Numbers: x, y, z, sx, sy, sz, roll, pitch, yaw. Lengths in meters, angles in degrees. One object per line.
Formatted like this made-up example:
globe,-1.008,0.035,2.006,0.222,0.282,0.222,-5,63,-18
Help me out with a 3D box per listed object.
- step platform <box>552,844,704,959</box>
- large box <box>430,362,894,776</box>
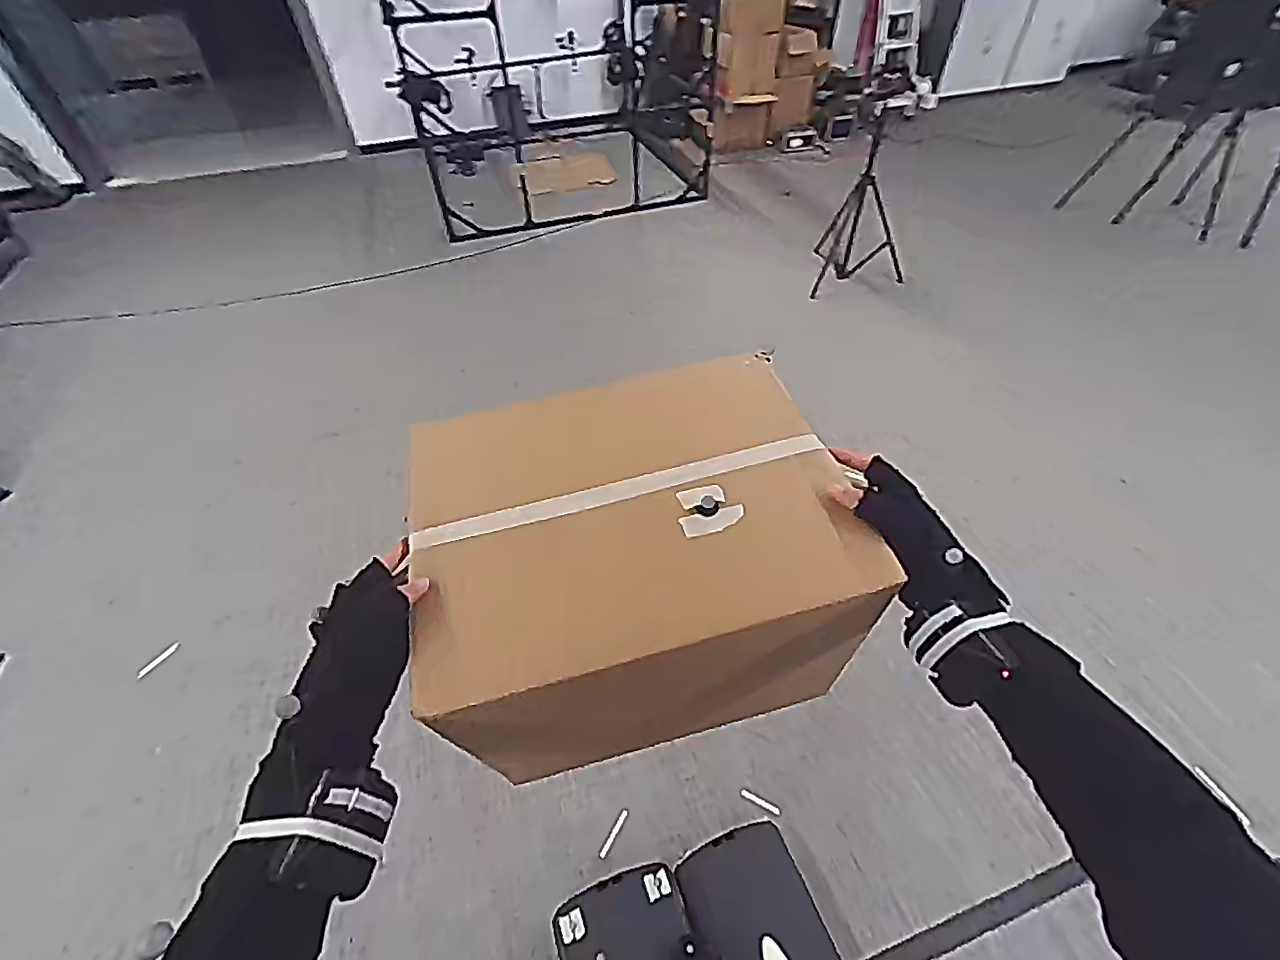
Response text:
step platform,0.038,1.145,1.081,0.286,0.204,0.684,-17,48,-13
large box,0.001,0.109,0.650,0.408,0.320,0.320,-13,53,-6
